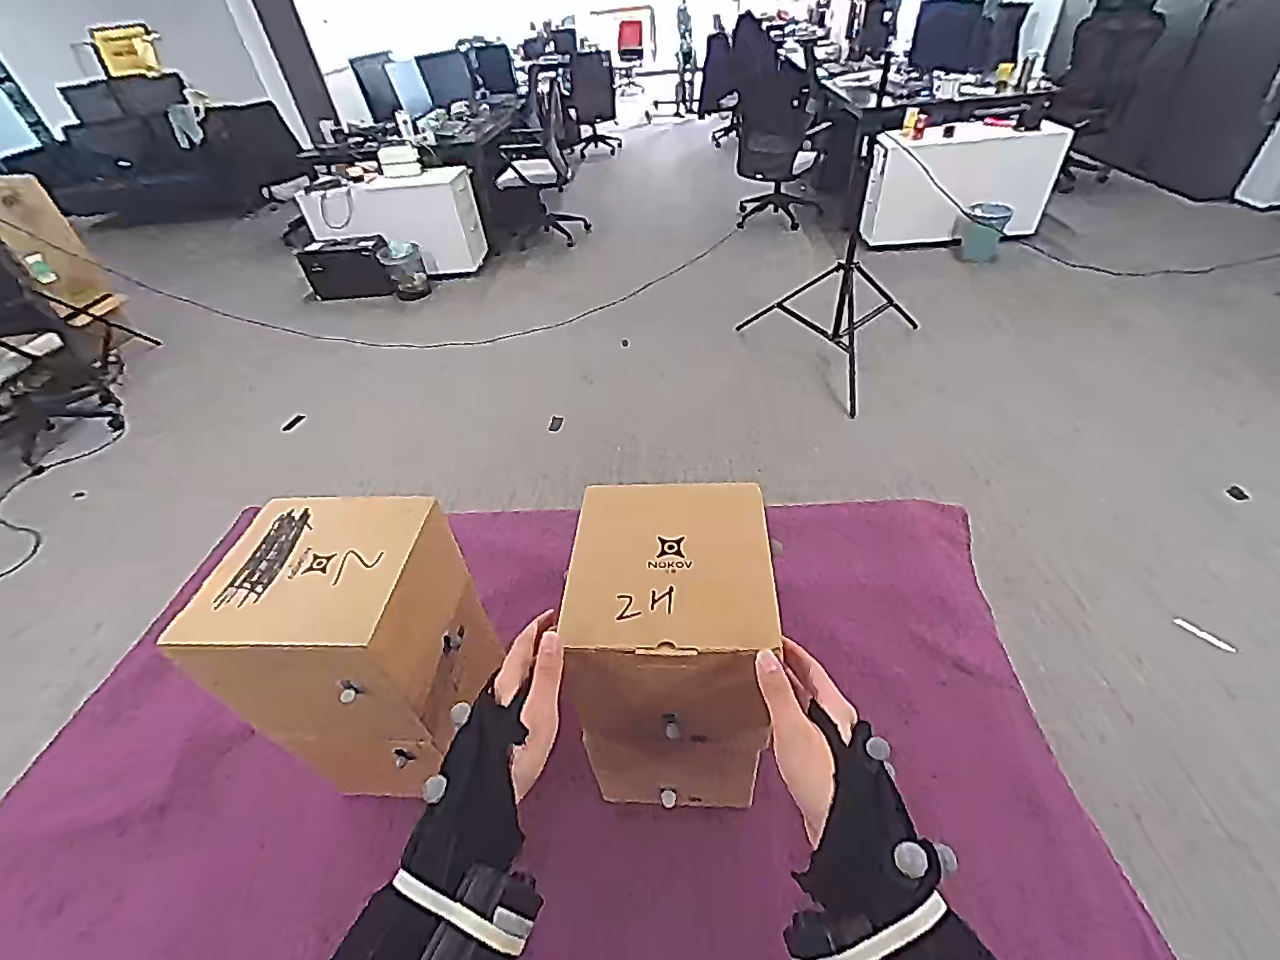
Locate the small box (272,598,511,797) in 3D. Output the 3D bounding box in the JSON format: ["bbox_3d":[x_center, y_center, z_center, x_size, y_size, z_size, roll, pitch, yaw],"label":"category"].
[{"bbox_3d":[-0.271,0.257,0.641,0.179,0.176,0.168,-1,42,4],"label":"small box"}]

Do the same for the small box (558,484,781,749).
[{"bbox_3d":[0.033,0.122,0.503,0.168,0.176,0.179,-1,41,7],"label":"small box"}]

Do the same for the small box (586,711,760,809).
[{"bbox_3d":[0.042,0.245,0.615,0.168,0.176,0.179,-1,43,7],"label":"small box"}]
